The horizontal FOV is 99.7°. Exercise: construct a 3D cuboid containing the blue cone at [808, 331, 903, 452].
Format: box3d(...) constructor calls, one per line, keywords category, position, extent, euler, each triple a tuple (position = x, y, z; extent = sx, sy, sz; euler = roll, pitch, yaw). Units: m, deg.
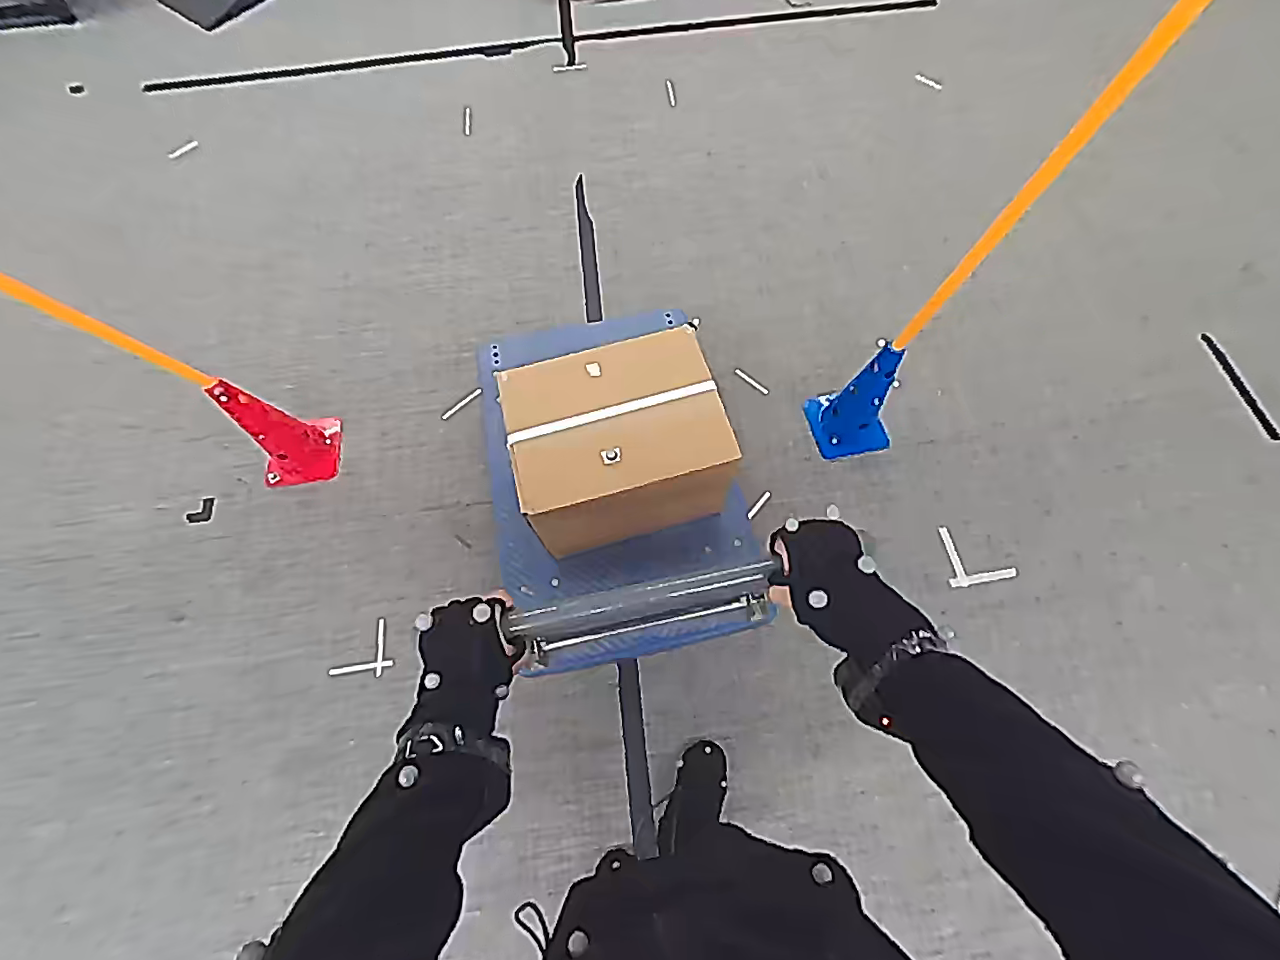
box3d(category="blue cone", position=(0.586, -0.238, 1.386), extent=(0.193, 0.380, 0.192), euler=(-10, 66, -3))
